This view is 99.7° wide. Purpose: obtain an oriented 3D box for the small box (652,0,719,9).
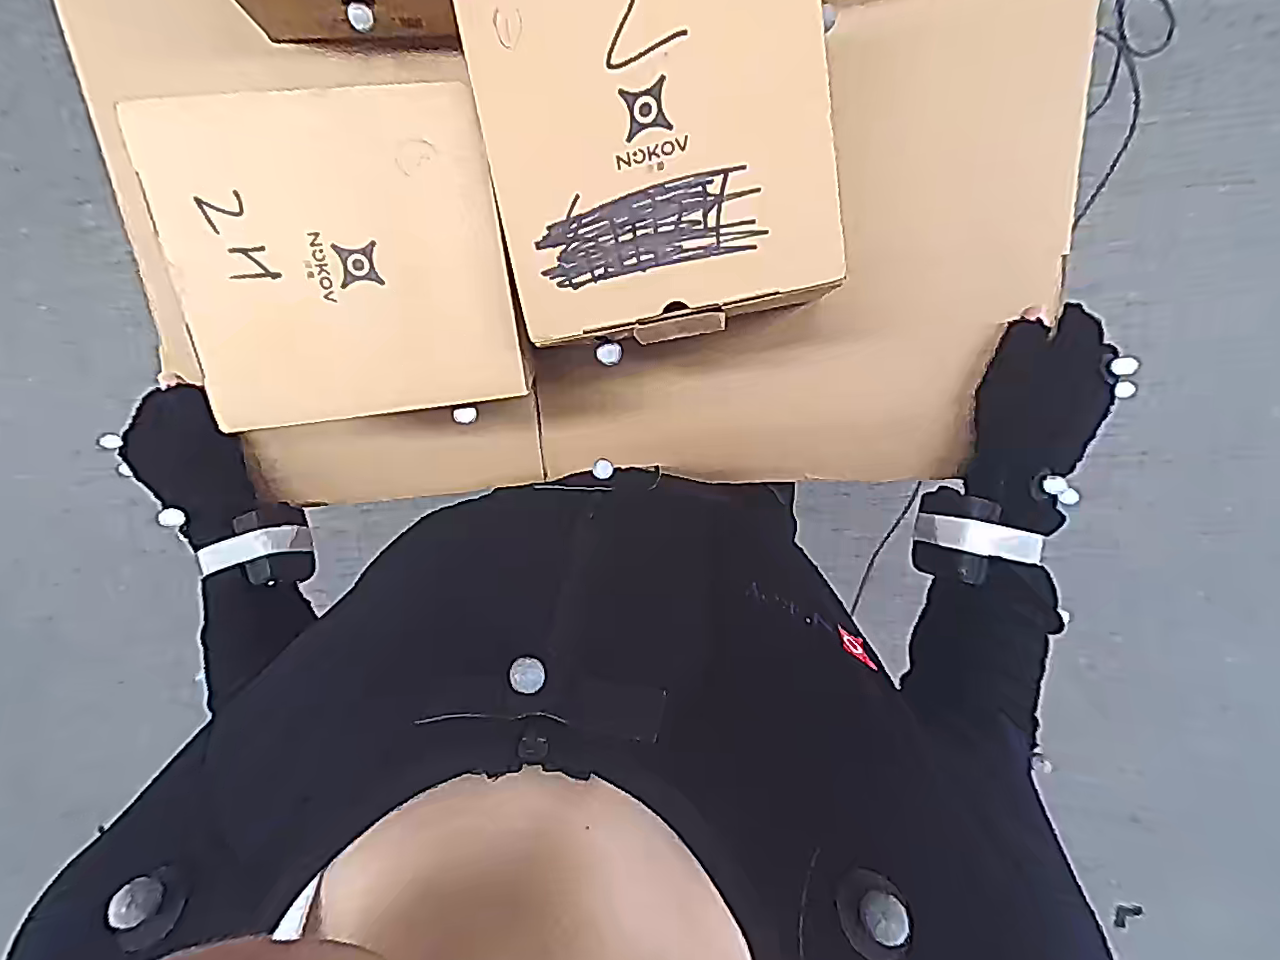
[{"bbox_3d":[0.055,-0.386,0.272,0.168,0.176,0.179,-1,104,13],"label":"small box"}]
